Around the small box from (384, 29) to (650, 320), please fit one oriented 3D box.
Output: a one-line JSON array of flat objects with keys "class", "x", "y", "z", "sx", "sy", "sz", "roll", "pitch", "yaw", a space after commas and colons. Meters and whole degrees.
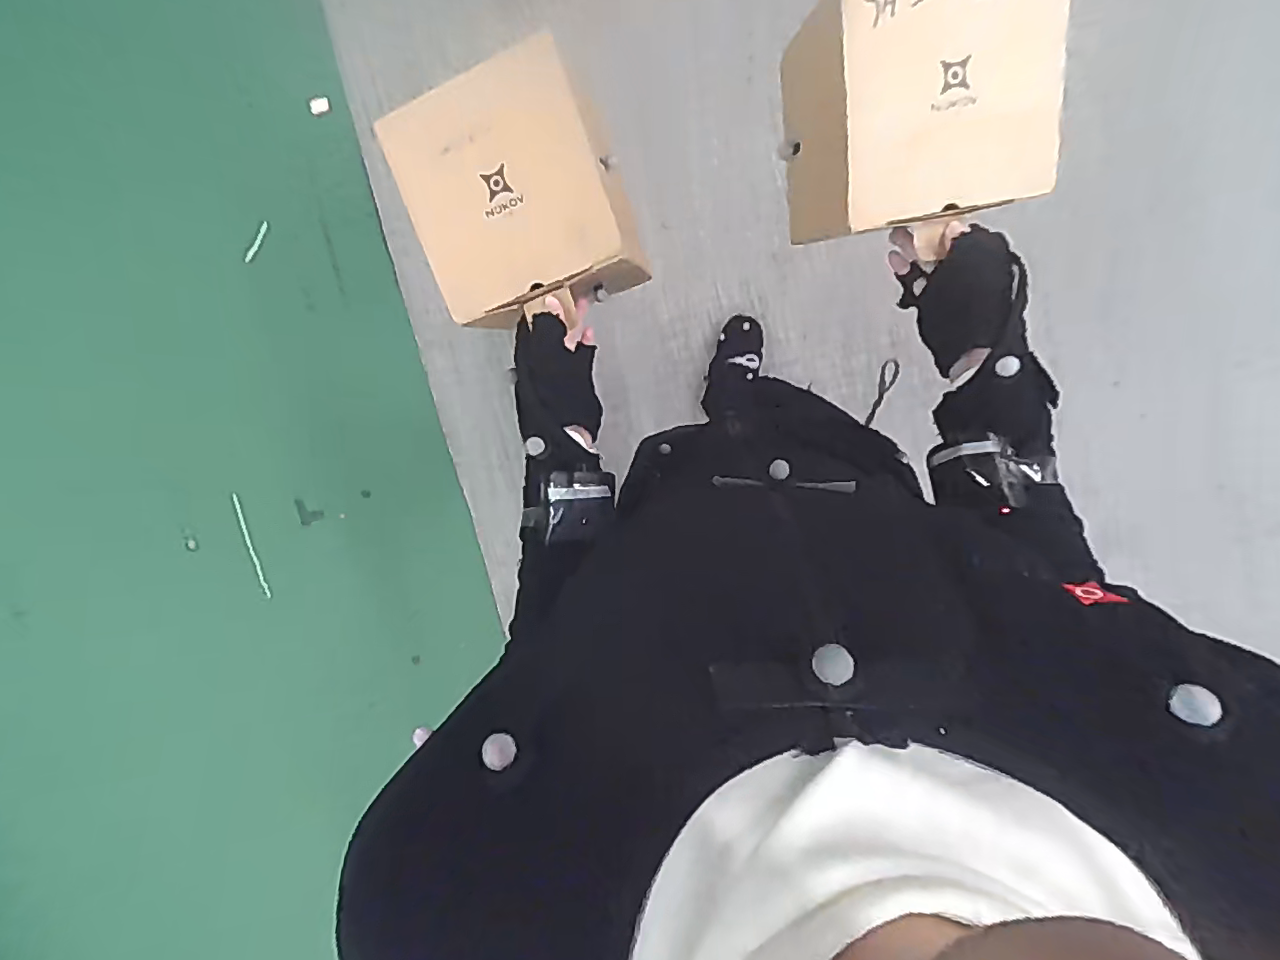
[{"class": "small box", "x": -0.101, "y": -0.268, "z": 0.530, "sx": 0.168, "sy": 0.176, "sz": 0.179, "roll": -18, "pitch": 99, "yaw": 14}]
